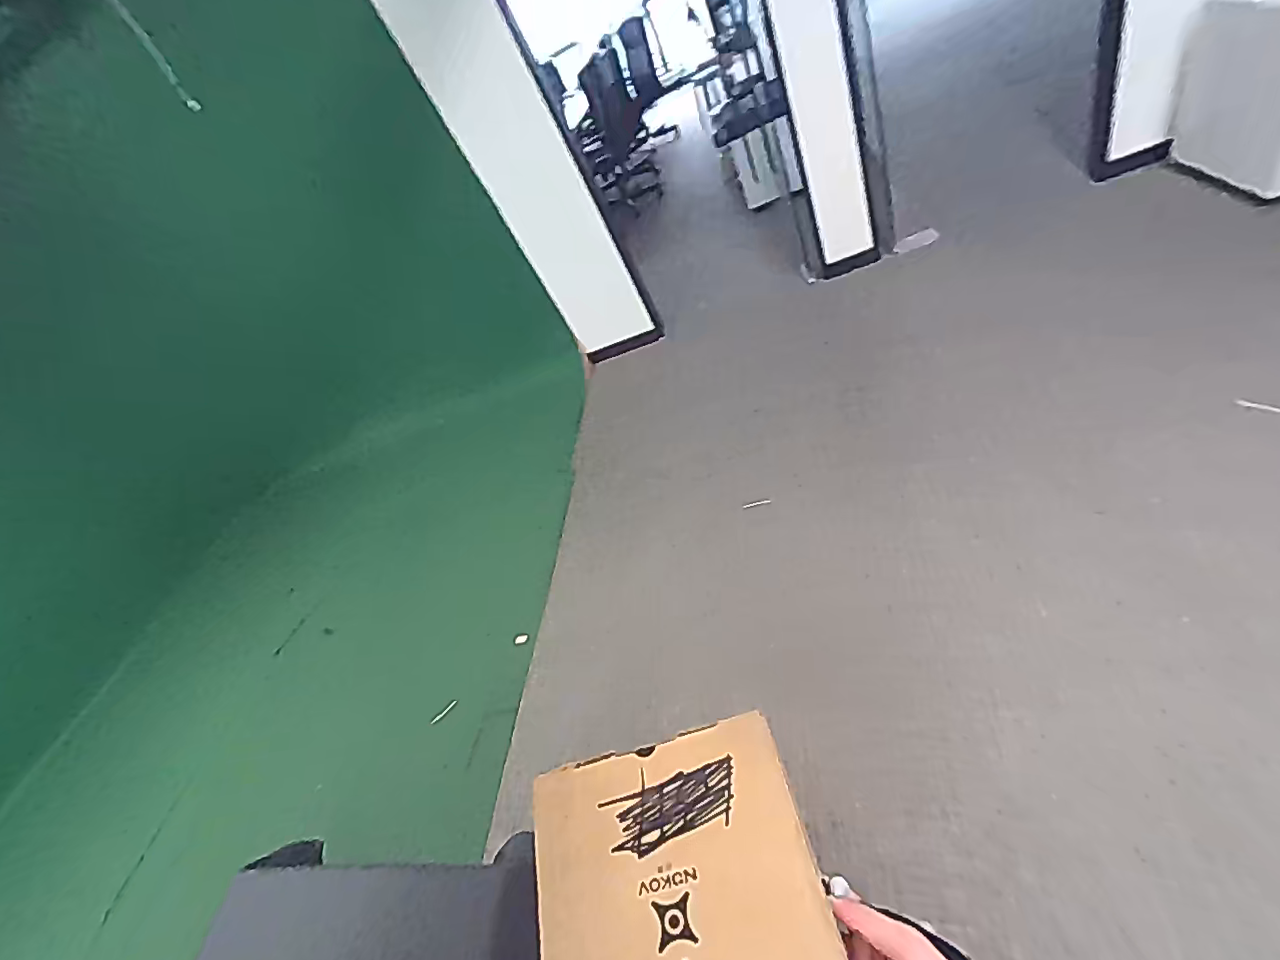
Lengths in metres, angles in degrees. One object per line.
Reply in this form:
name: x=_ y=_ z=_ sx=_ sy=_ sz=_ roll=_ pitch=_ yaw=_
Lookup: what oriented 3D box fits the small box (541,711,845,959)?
small box: x=0.042 y=0.291 z=0.374 sx=0.168 sy=0.176 sz=0.179 roll=-18 pitch=48 yaw=6
